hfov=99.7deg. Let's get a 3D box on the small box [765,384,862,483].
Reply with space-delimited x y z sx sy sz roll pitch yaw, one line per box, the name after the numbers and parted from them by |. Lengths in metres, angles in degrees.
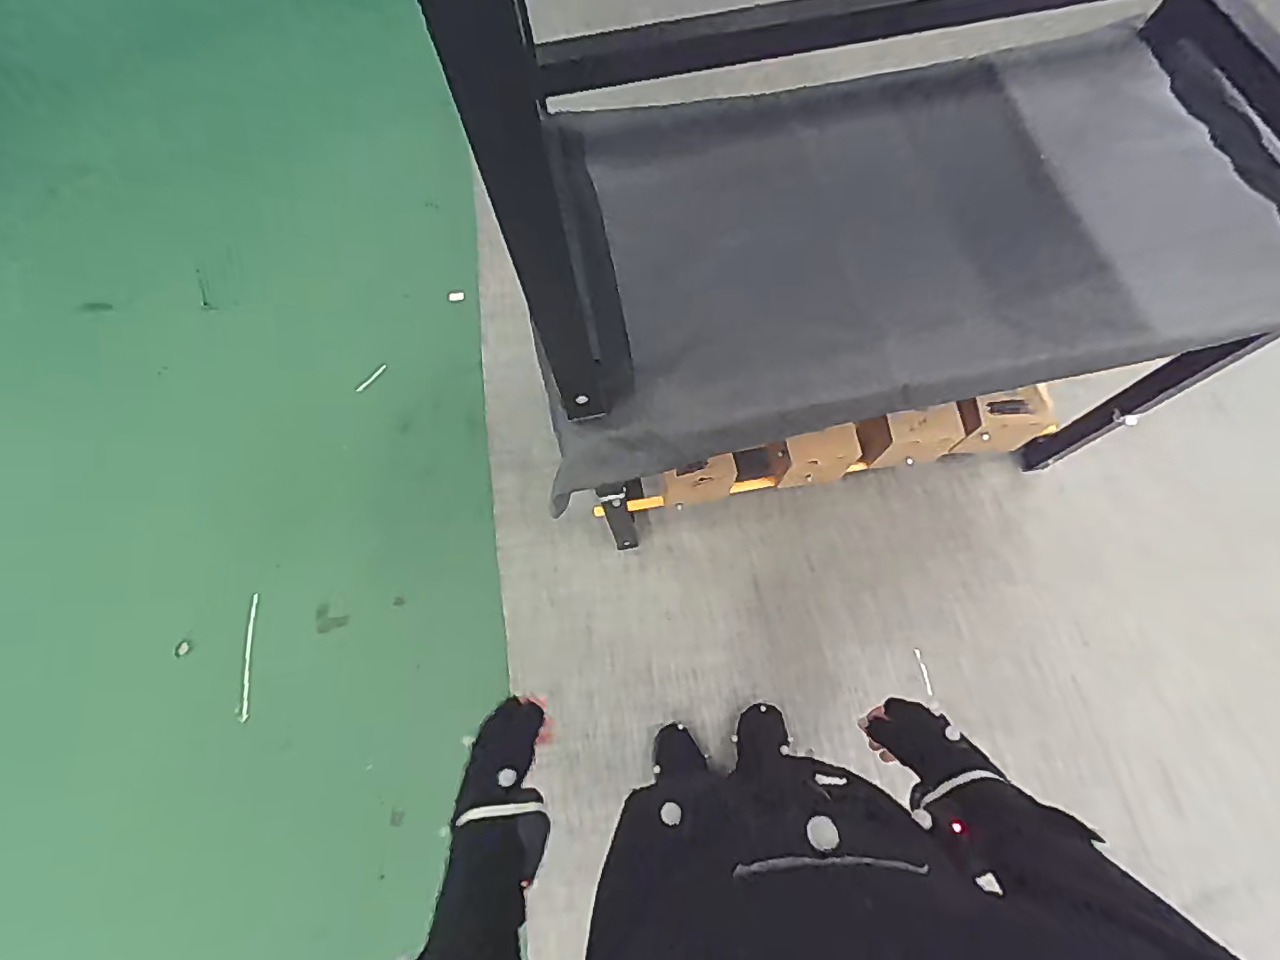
0.411 -0.109 1.315 0.168 0.176 0.179 -9 72 0 | small box
